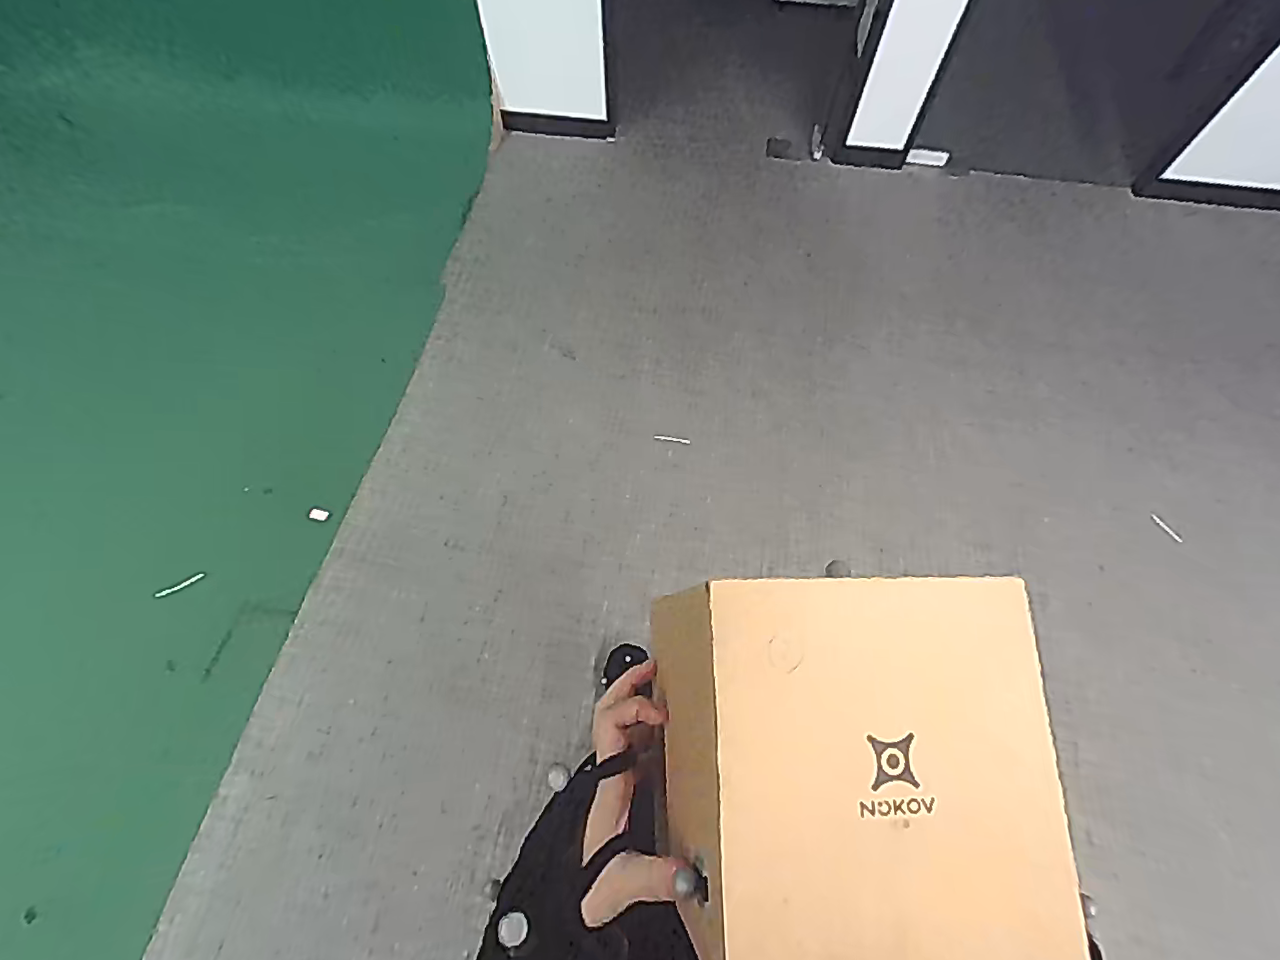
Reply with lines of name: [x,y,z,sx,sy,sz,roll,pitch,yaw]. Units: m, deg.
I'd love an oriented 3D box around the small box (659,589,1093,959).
small box: [0.105,0.157,0.319,0.168,0.176,0.179,1,77,-8]
